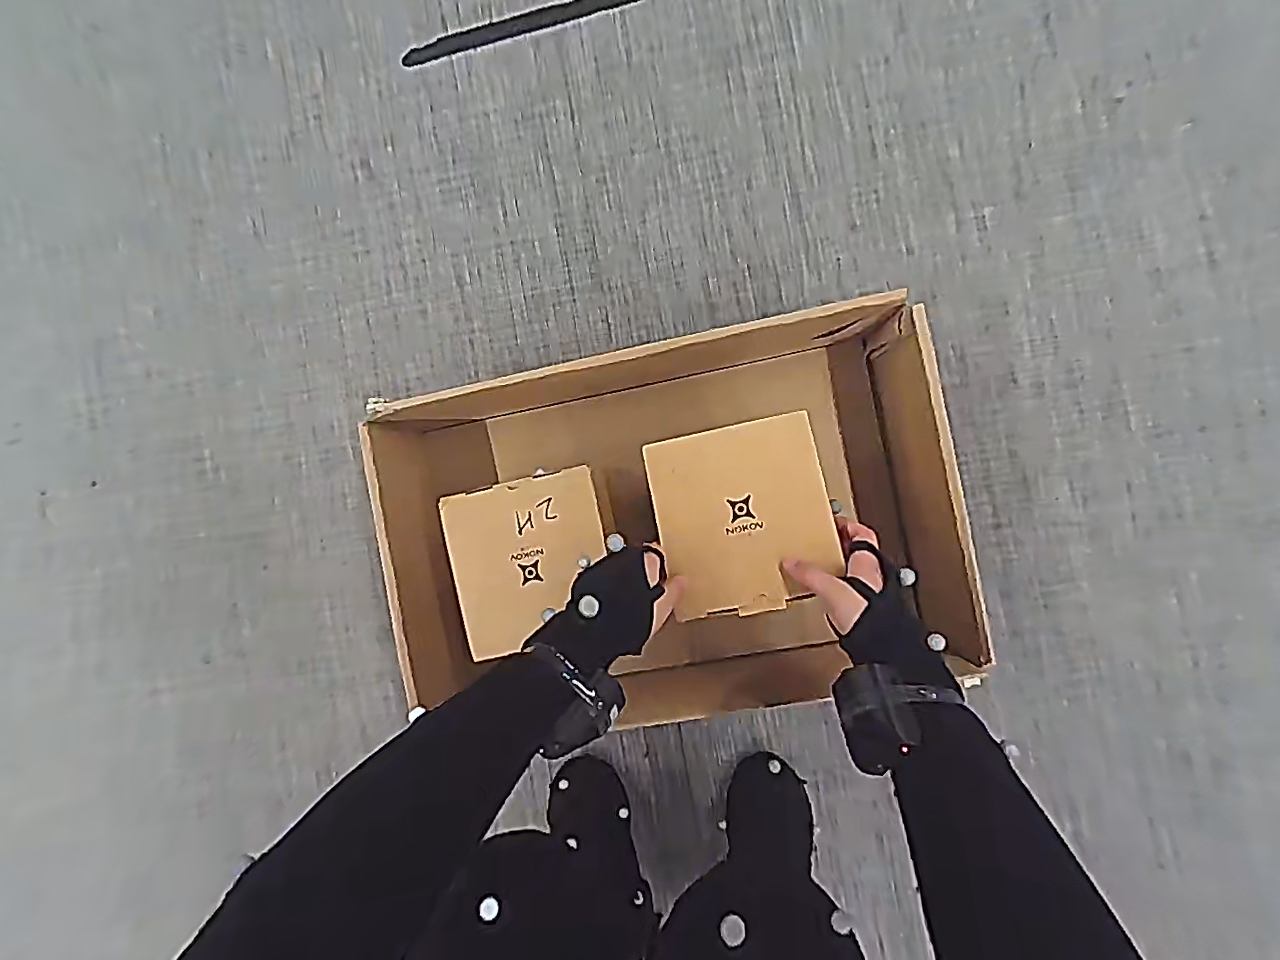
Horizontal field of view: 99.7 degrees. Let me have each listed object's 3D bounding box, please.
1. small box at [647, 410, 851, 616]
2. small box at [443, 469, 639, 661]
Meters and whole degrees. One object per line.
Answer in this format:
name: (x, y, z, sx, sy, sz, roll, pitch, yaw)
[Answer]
small box: (0.111, 0.044, 0.593, 0.168, 0.176, 0.179, -12, 80, 7)
small box: (-0.102, 0.088, 0.633, 0.168, 0.176, 0.179, -13, 88, 5)
